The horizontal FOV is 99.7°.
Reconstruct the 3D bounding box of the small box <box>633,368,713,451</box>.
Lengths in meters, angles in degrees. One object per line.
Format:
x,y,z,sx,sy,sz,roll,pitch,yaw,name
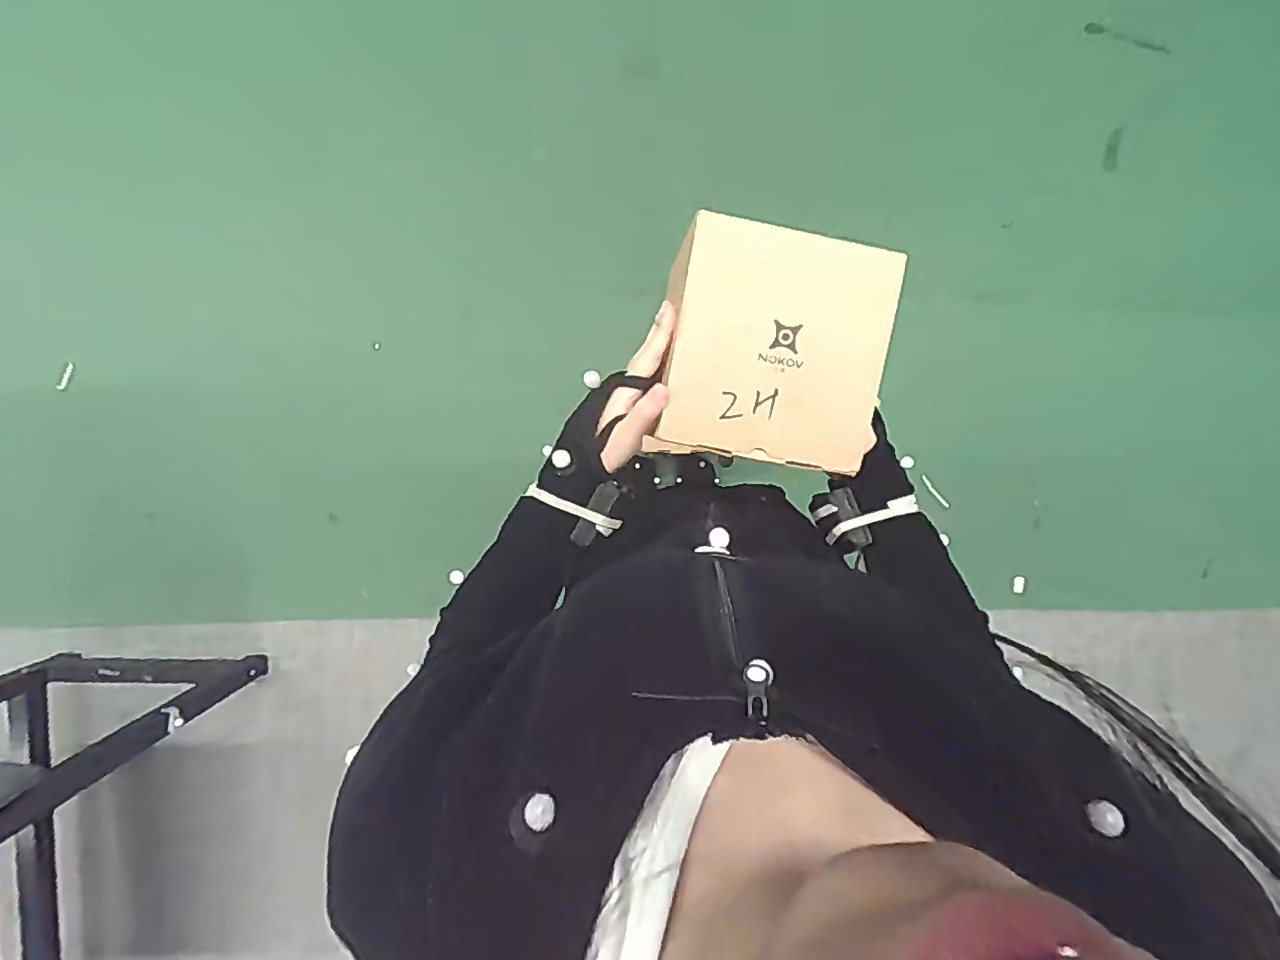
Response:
0.070,-0.155,1.239,0.168,0.176,0.179,-1,94,-3,small box
